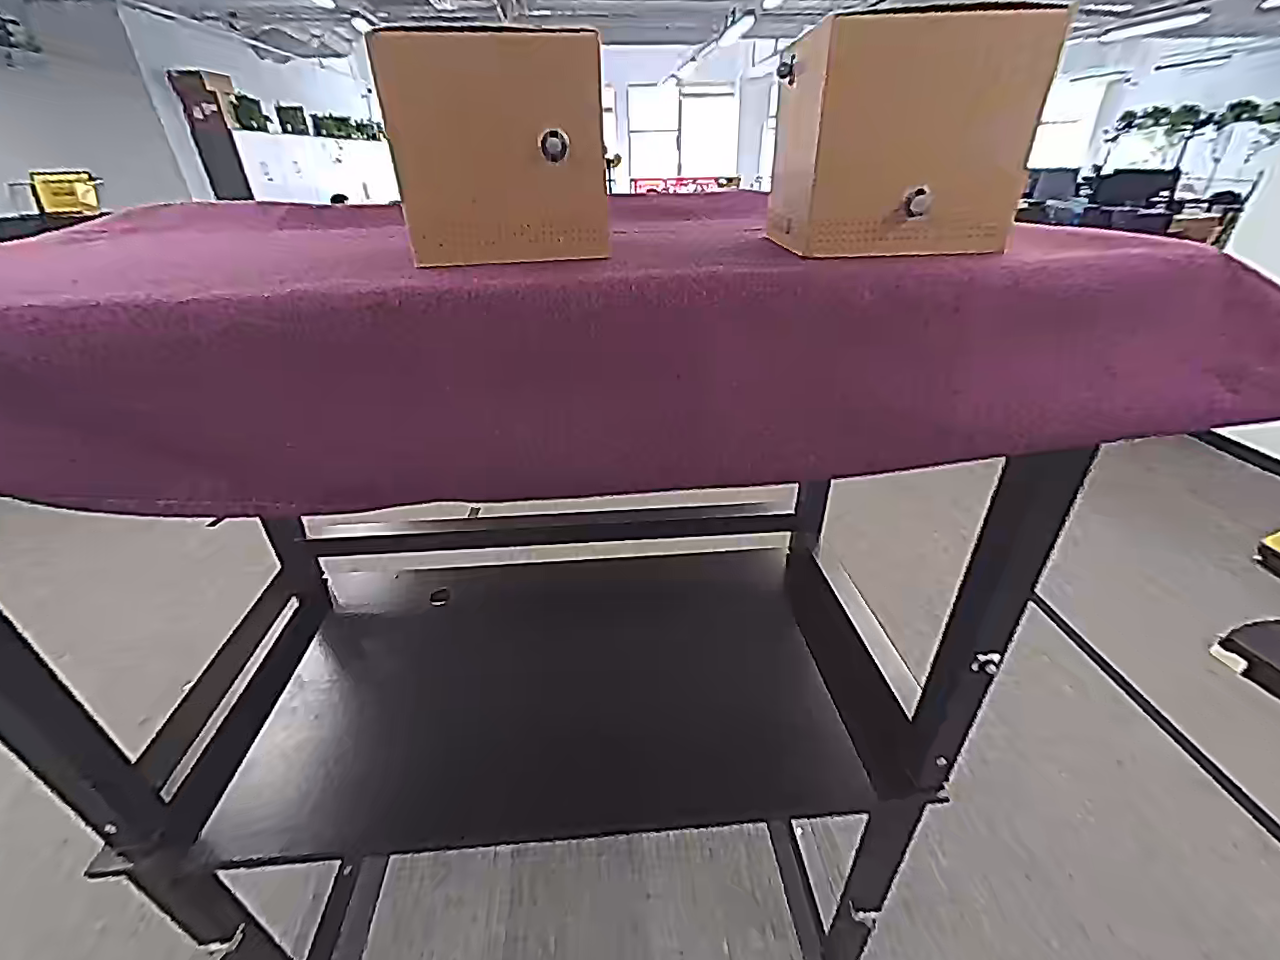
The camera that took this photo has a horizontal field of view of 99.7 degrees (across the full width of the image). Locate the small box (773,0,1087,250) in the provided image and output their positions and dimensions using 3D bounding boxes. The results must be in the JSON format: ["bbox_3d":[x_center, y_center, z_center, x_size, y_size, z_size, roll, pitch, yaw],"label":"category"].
[{"bbox_3d":[0.230,-0.309,0.487,0.179,0.176,0.168,-1,30,1],"label":"small box"}]

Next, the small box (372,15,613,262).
[{"bbox_3d":[-0.119,-0.309,0.508,0.179,0.176,0.168,-6,30,-7],"label":"small box"}]
